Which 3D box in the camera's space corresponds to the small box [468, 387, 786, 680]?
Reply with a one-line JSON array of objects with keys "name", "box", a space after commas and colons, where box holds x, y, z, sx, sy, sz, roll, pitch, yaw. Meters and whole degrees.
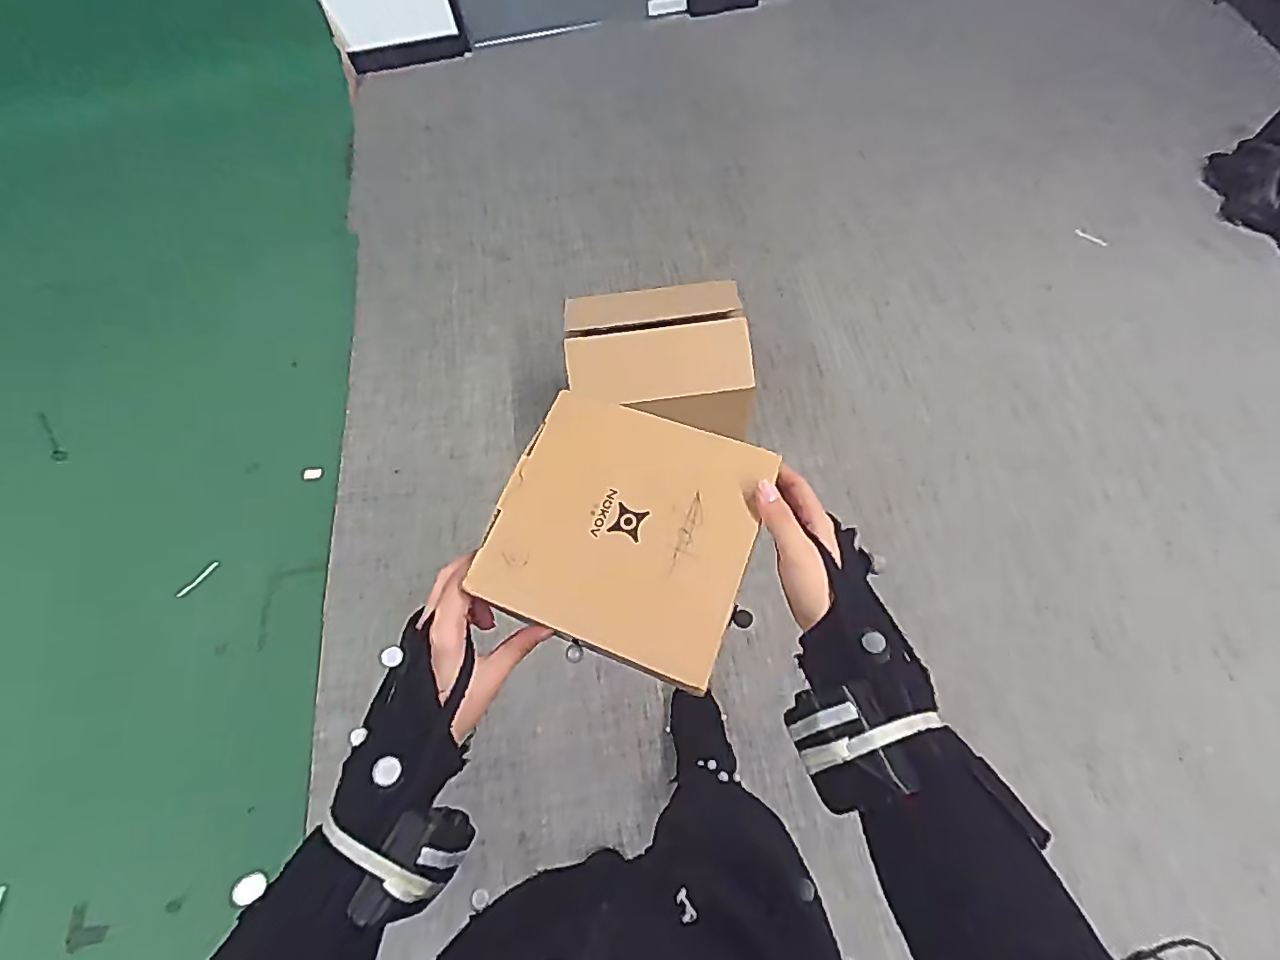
[{"name": "small box", "box": [0.000, 0.055, 0.440, 0.179, 0.176, 0.168, 18, 71, 12]}]
